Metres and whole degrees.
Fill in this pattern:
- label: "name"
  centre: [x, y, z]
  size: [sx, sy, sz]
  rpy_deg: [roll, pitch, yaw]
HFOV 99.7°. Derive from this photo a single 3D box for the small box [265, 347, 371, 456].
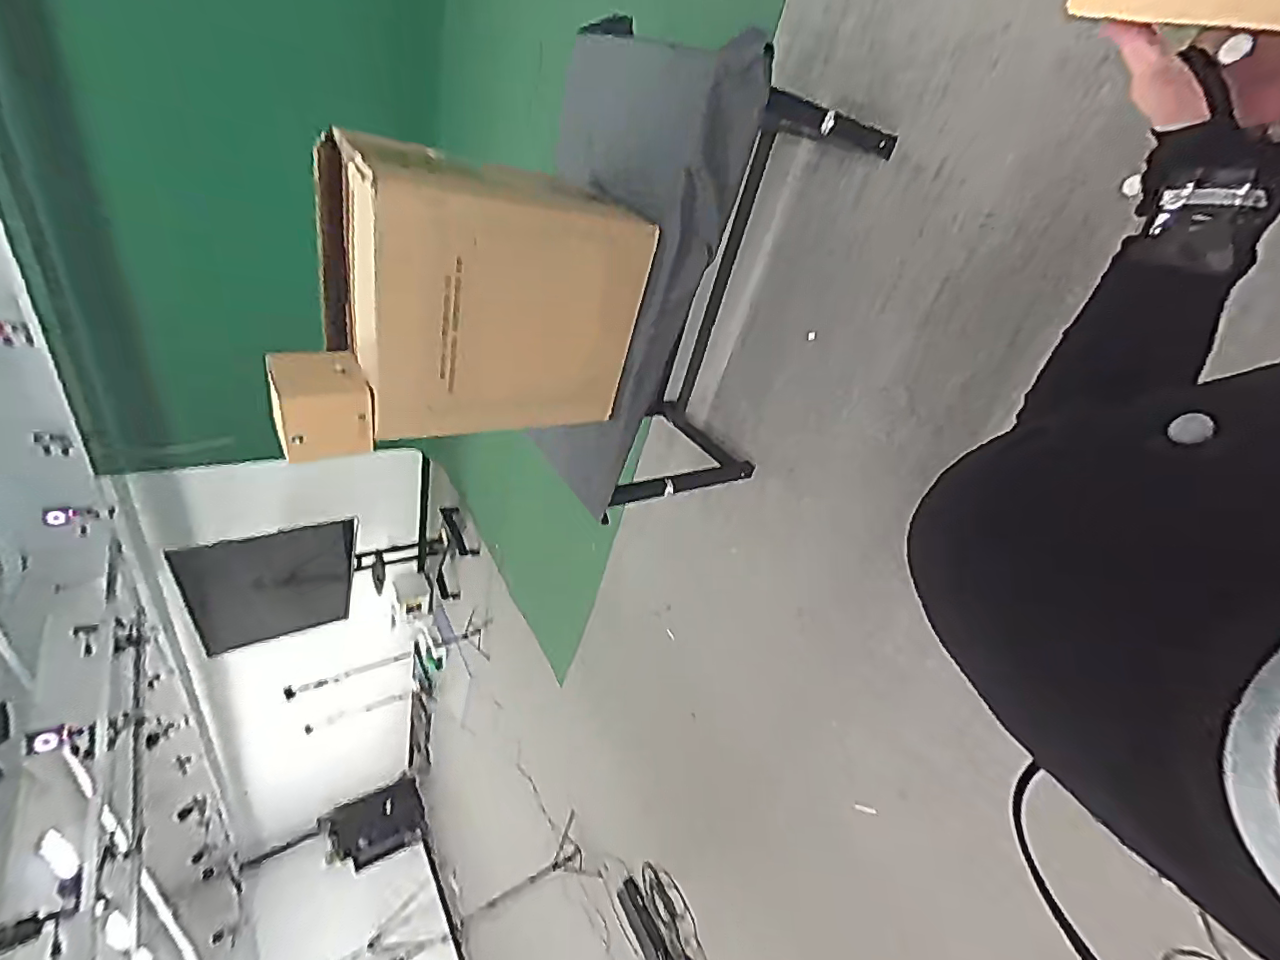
- label: "small box"
  centre: [-0.695, -0.176, 1.176]
  size: [0.179, 0.176, 0.168]
  rpy_deg: [50, 138, 35]
